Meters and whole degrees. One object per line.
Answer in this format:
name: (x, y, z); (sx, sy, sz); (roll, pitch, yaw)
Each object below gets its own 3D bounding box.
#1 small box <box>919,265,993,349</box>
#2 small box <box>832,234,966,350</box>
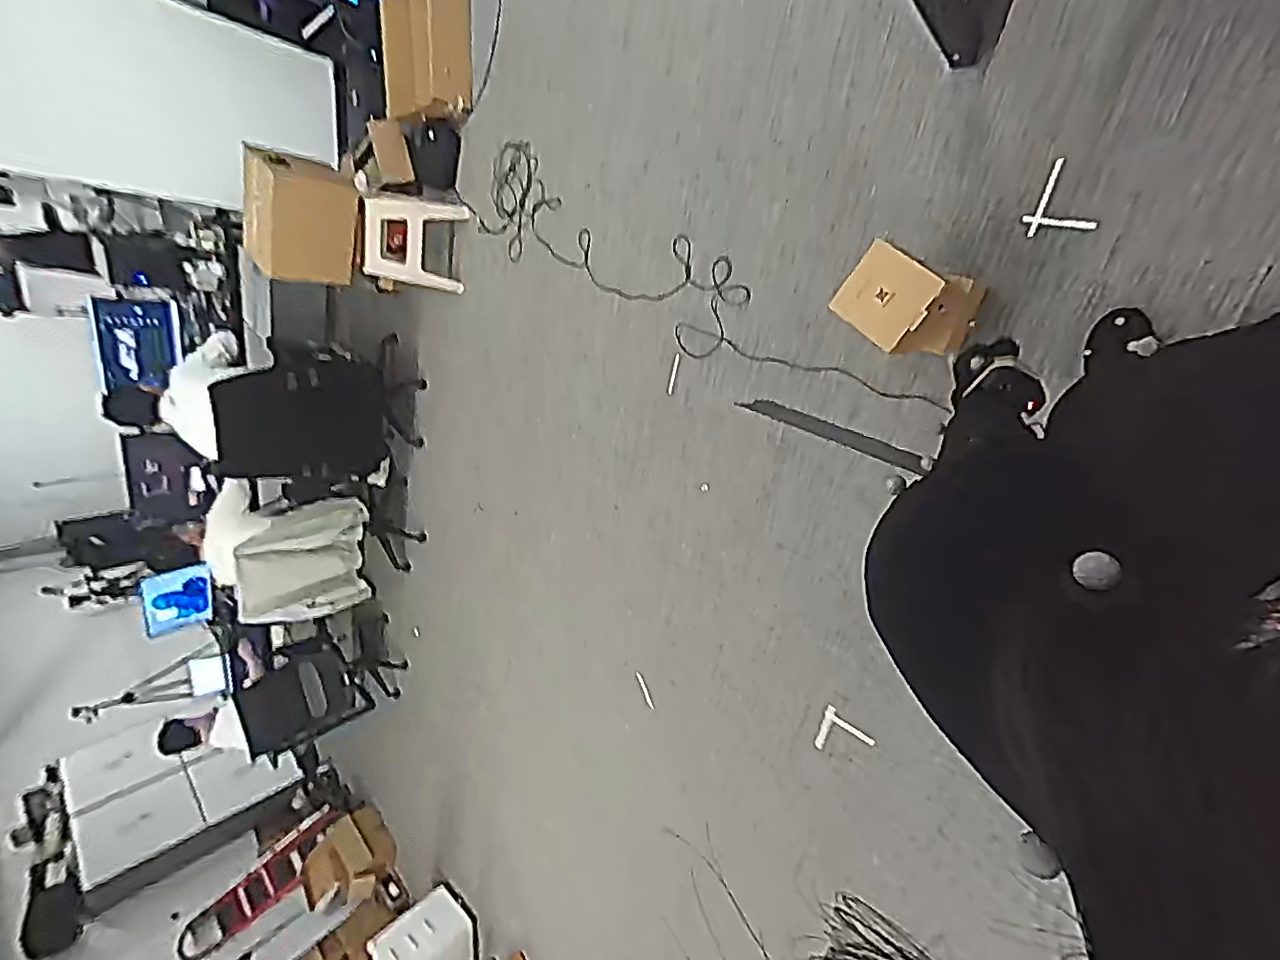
small box: (0.685, -0.407, 1.263); (0.179, 0.176, 0.168); (30, 119, 33)
small box: (0.557, -0.397, 1.159); (0.179, 0.176, 0.168); (48, 127, 24)
